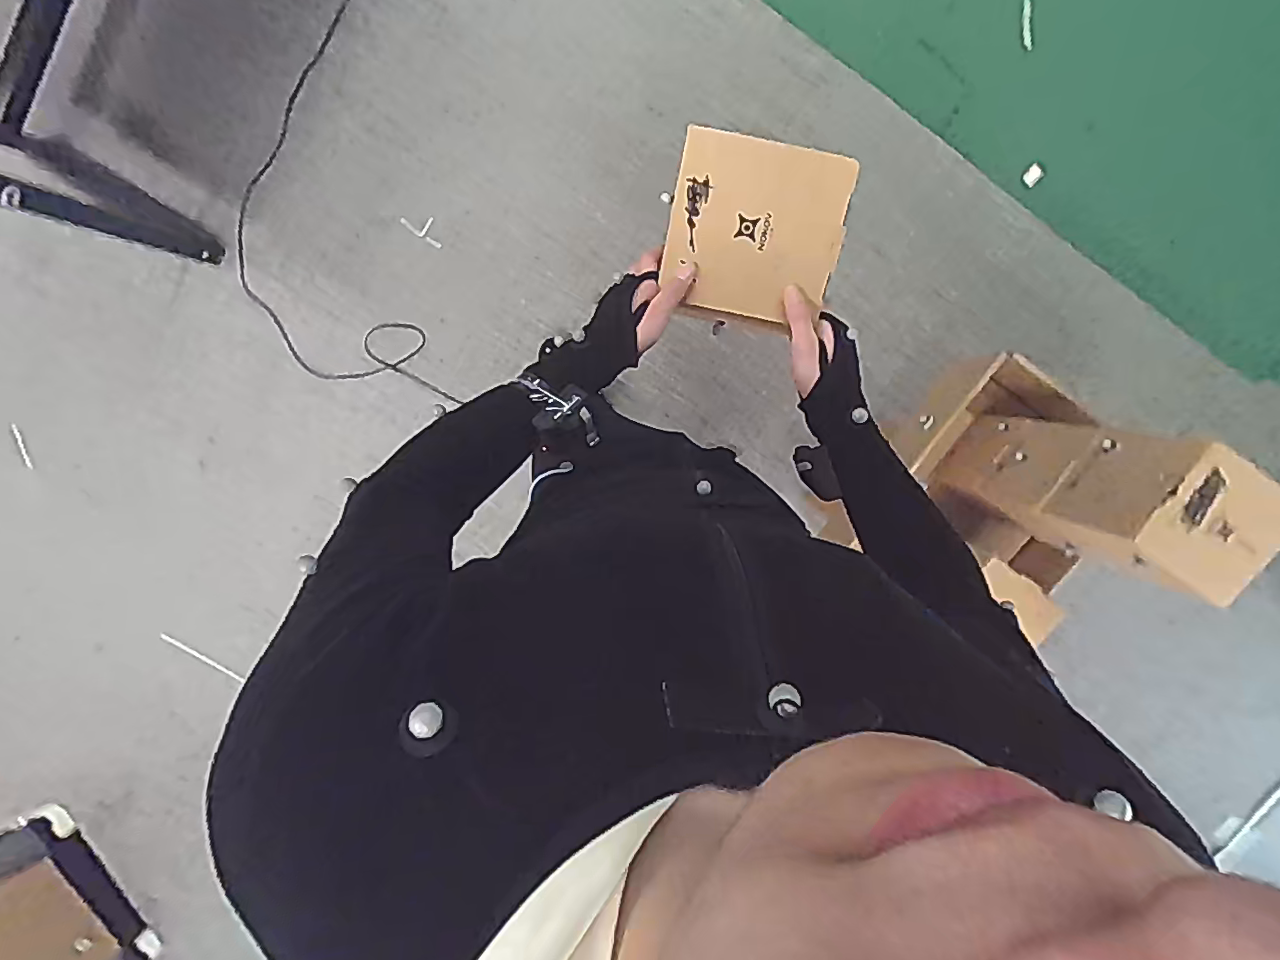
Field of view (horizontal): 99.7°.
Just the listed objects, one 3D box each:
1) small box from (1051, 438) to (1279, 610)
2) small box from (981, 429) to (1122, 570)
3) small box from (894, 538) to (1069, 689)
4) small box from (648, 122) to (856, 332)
[{"bbox_3d":[0.763,0.051,0.784,0.179,0.176,0.168,33,99,-6],"label":"small box"},{"bbox_3d":[0.757,0.022,0.946,0.179,0.176,0.168,35,98,-5],"label":"small box"},{"bbox_3d":[0.605,0.231,0.986,0.168,0.176,0.179,37,99,-4],"label":"small box"},{"bbox_3d":[0.110,-0.268,0.616,0.179,0.176,0.168,11,102,-2],"label":"small box"}]
